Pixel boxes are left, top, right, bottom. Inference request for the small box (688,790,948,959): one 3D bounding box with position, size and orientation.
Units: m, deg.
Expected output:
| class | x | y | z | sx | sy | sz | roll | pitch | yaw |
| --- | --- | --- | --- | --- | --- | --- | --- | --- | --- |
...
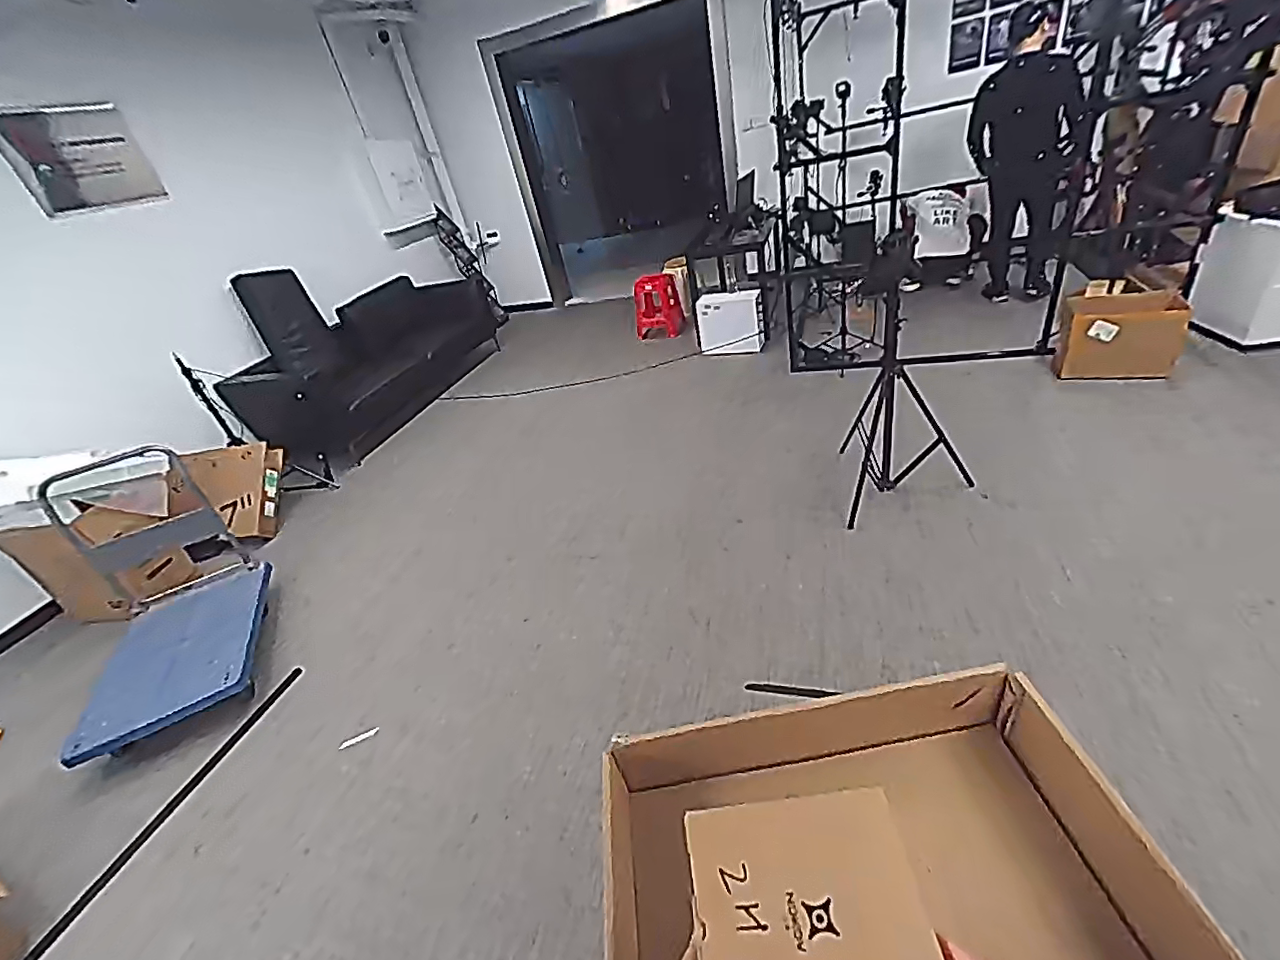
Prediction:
| class | x | y | z | sx | sy | sz | roll | pitch | yaw |
| --- | --- | --- | --- | --- | --- | --- | --- | --- | --- |
| small box | 0.146 | 0.391 | 0.465 | 0.179 | 0.176 | 0.168 | -11 | 42 | 5 |
